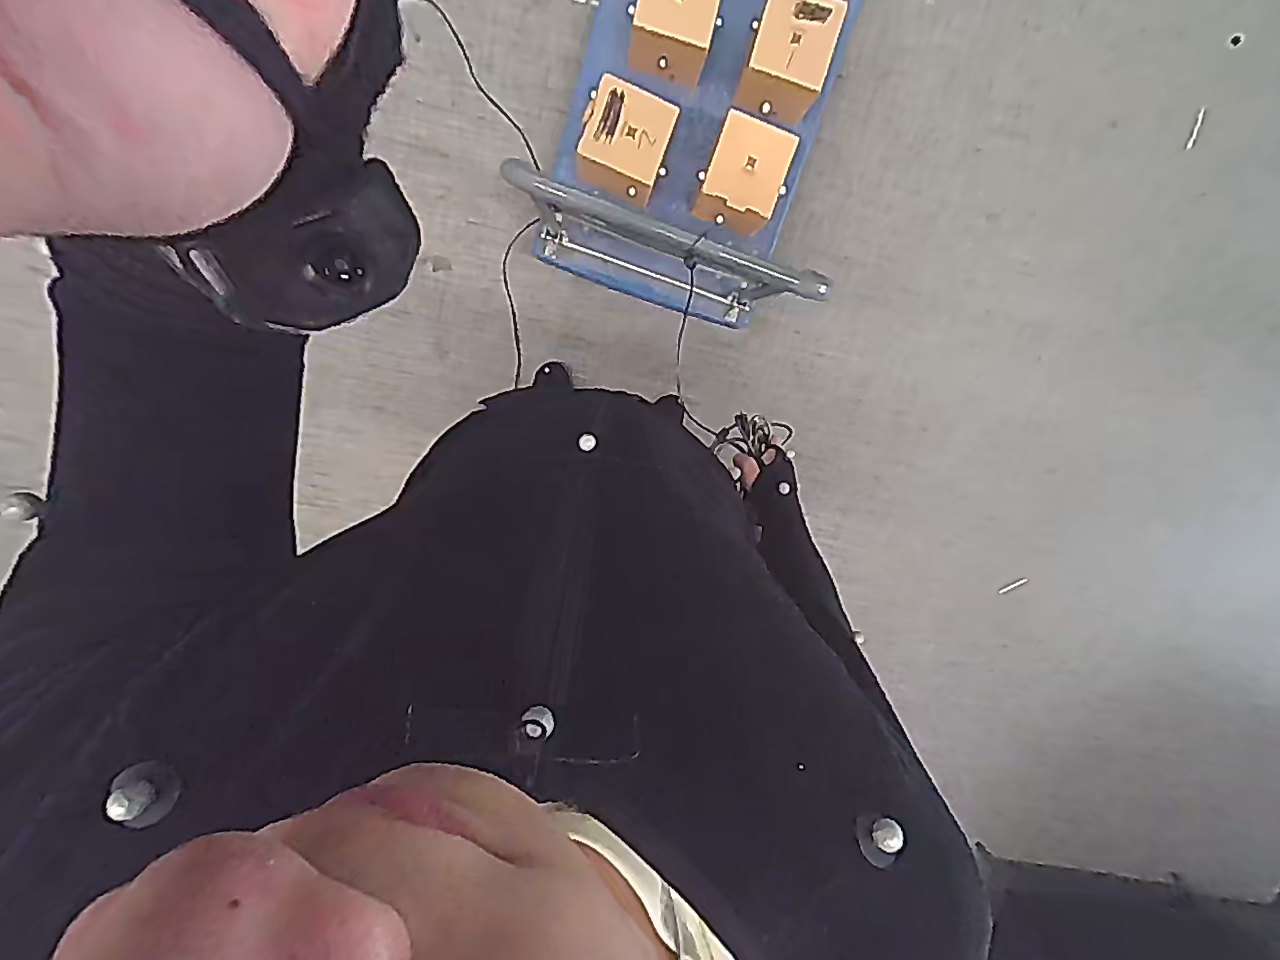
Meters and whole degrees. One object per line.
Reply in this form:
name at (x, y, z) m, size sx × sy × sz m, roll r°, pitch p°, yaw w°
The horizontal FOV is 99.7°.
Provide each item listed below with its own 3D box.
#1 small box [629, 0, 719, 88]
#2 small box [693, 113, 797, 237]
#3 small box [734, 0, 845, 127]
small box at (0.074, -1.002, 1.177) m, size 0.168 × 0.176 × 0.179 m, roll 13°, pitch 100°, yaw -7°
small box at (0.232, -0.693, 1.251) m, size 0.168 × 0.176 × 0.179 m, roll 18°, pitch 101°, yaw -7°
small box at (0.321, -0.936, 1.204) m, size 0.168 × 0.176 × 0.179 m, roll 15°, pitch 101°, yaw -5°
